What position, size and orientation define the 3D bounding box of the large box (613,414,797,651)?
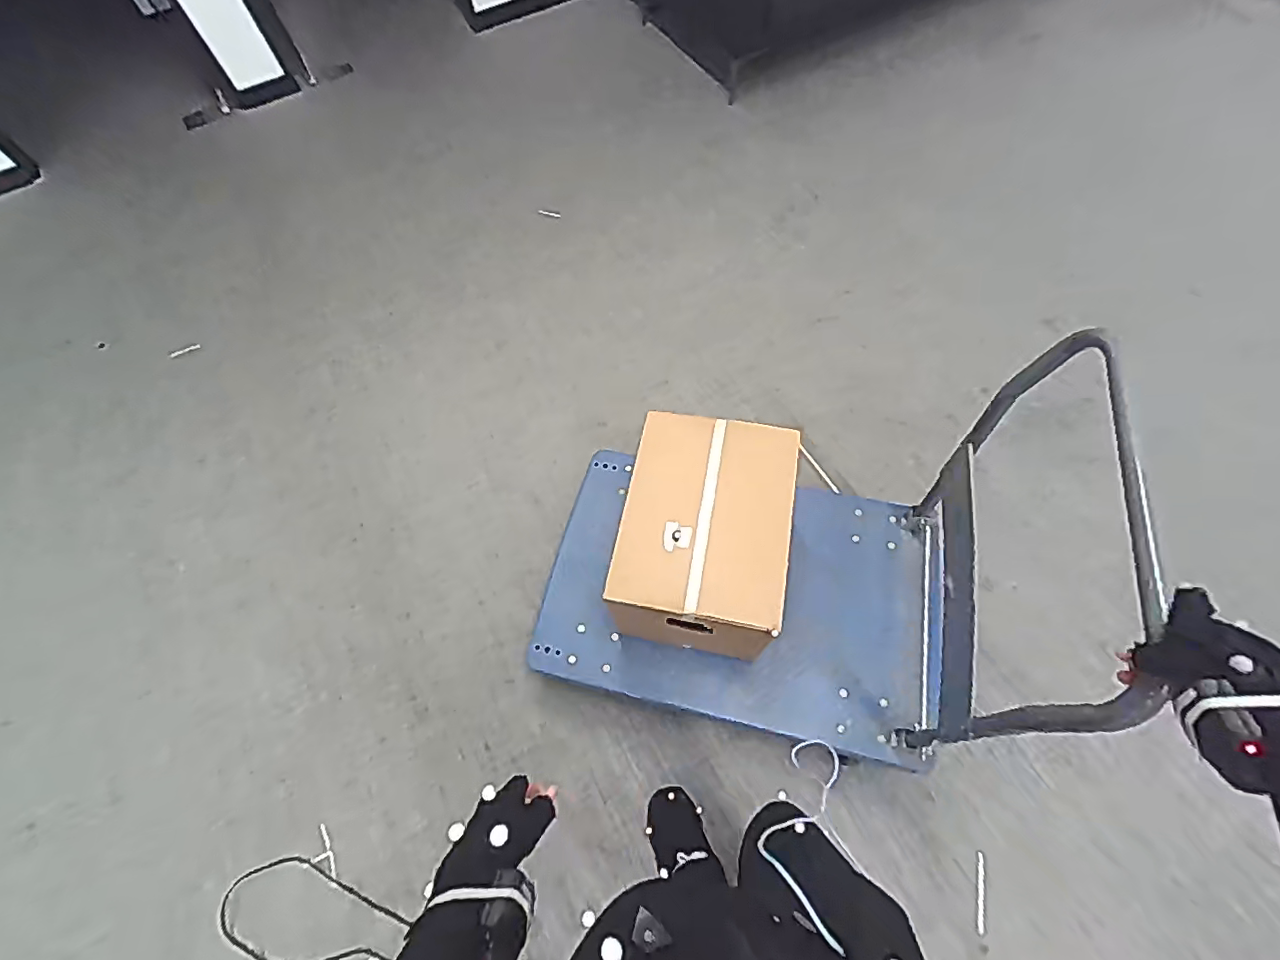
[{"bbox_3d":[0.142,0.119,1.157,0.320,0.320,0.408,7,65,9],"label":"large box"}]
